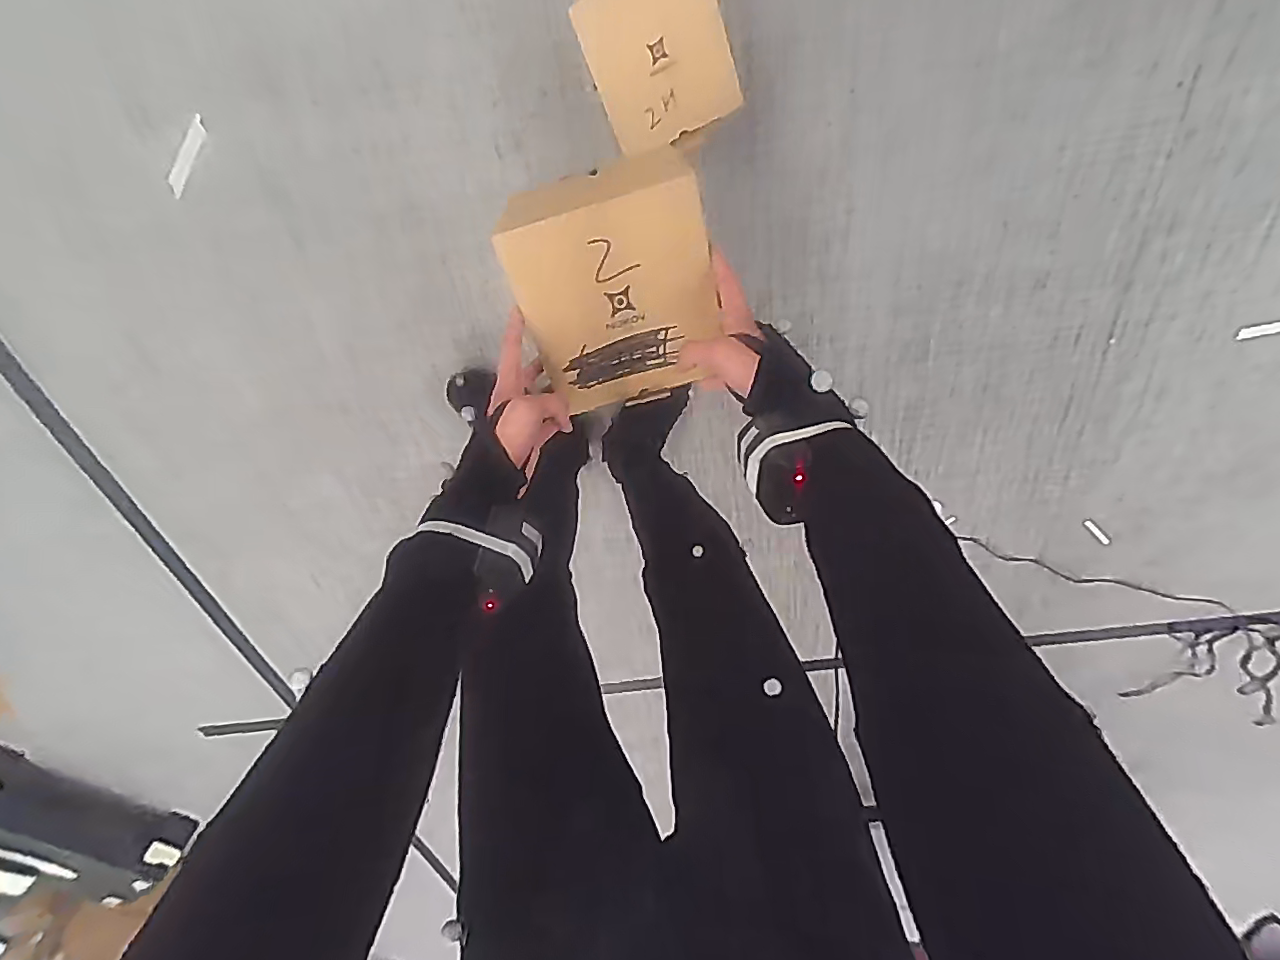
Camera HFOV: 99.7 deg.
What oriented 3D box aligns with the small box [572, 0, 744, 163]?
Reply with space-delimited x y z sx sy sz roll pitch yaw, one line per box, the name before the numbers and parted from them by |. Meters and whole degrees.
small box | 0.023 -0.552 0.723 0.168 0.176 0.179 -20 122 11
